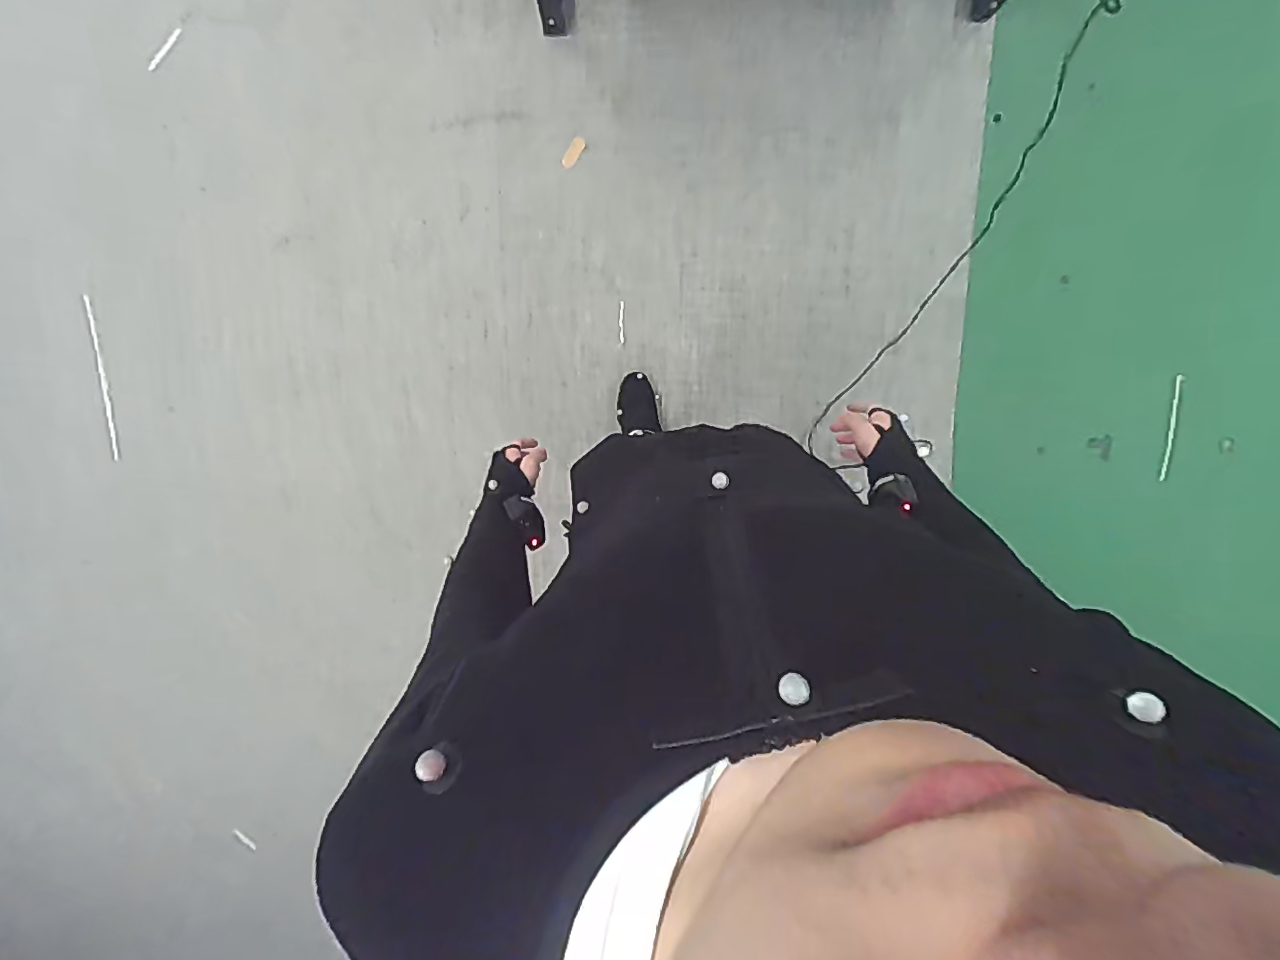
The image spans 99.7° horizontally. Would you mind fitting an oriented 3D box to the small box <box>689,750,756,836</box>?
[{"bbox_3d":[0.255,0.982,1.707,0.179,0.176,0.168,5,99,0],"label":"small box"}]
